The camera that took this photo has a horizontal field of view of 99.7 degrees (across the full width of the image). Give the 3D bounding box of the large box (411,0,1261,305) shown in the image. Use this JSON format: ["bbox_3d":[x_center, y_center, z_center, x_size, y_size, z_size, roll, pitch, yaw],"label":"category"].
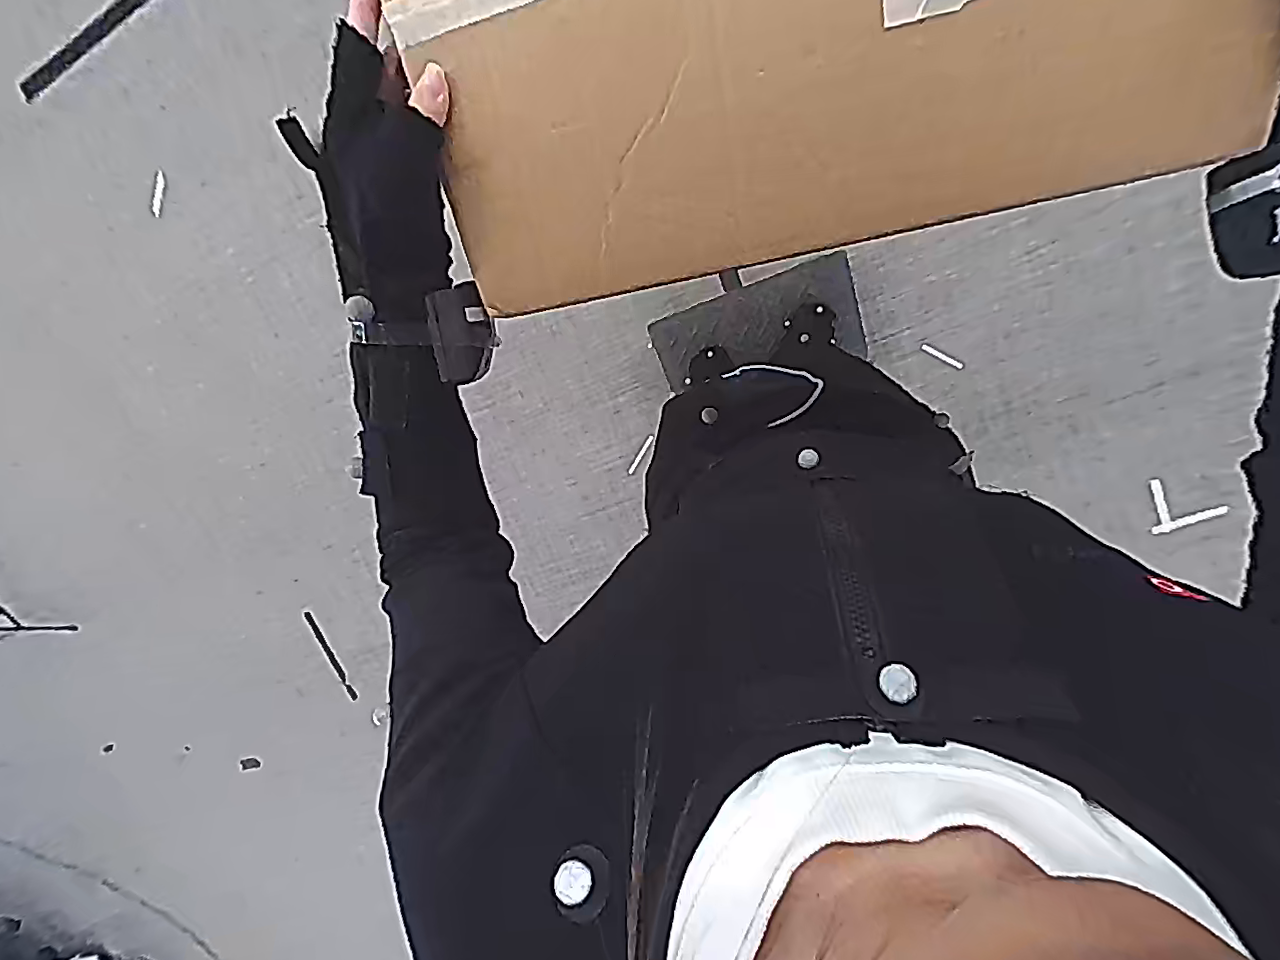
[{"bbox_3d":[0.088,-0.342,0.384,0.408,0.320,0.320,-8,115,13],"label":"large box"}]

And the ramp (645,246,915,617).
[{"bbox_3d":[0.419,-0.050,1.484,0.509,0.206,0.991,-20,103,14],"label":"ramp"}]
